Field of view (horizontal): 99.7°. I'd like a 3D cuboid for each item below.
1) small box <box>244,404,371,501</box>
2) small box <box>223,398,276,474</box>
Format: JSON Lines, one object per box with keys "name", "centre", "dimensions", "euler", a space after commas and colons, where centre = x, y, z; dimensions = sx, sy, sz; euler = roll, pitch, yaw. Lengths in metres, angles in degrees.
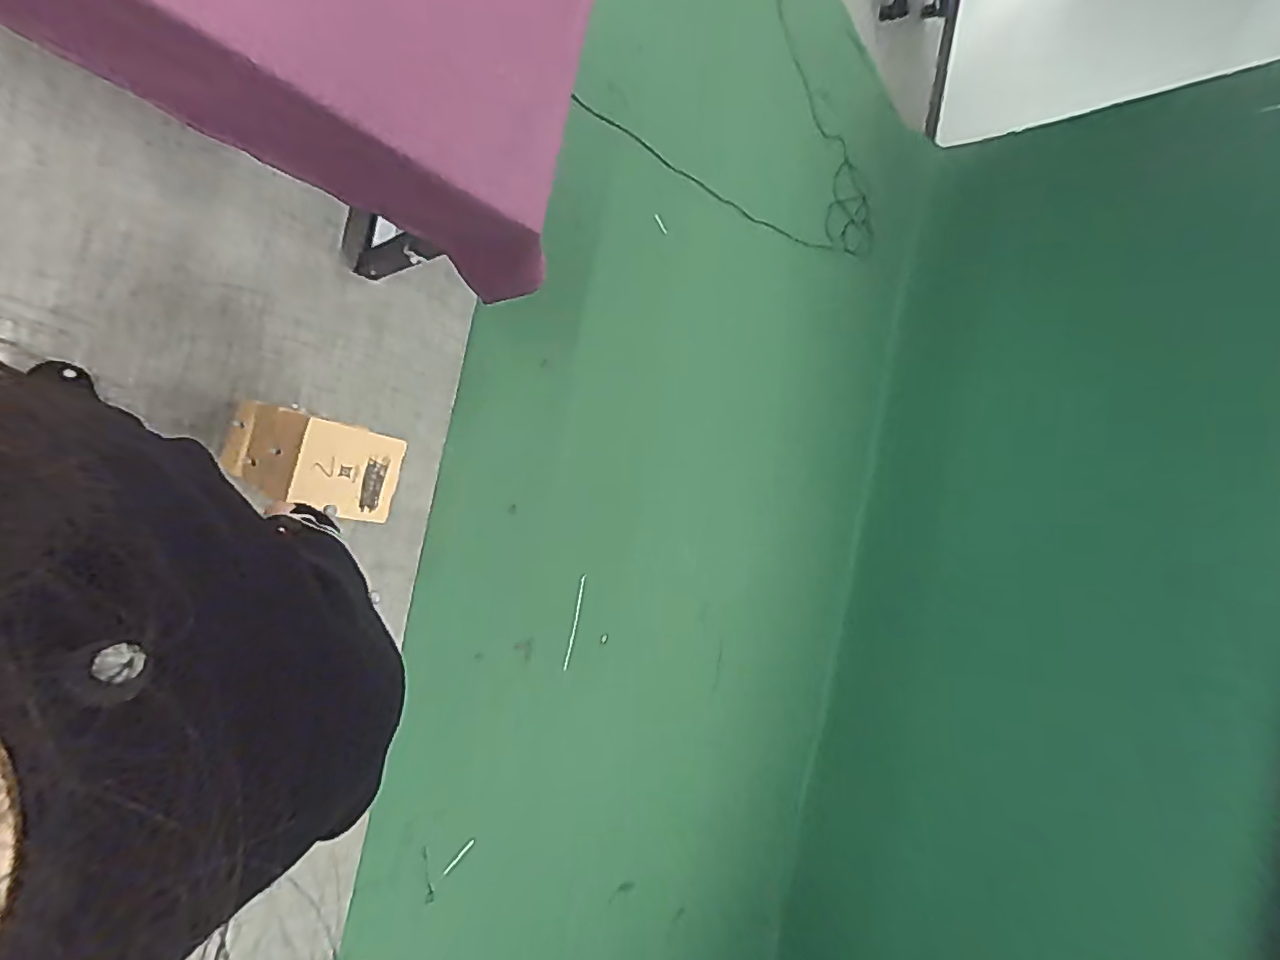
{"name": "small box", "centre": [-0.708, -0.060, 1.145], "dimensions": [0.179, 0.176, 0.168], "euler": [15, 87, -48]}
{"name": "small box", "centre": [-0.830, -0.083, 1.250], "dimensions": [0.179, 0.176, 0.168], "euler": [19, 83, -47]}
